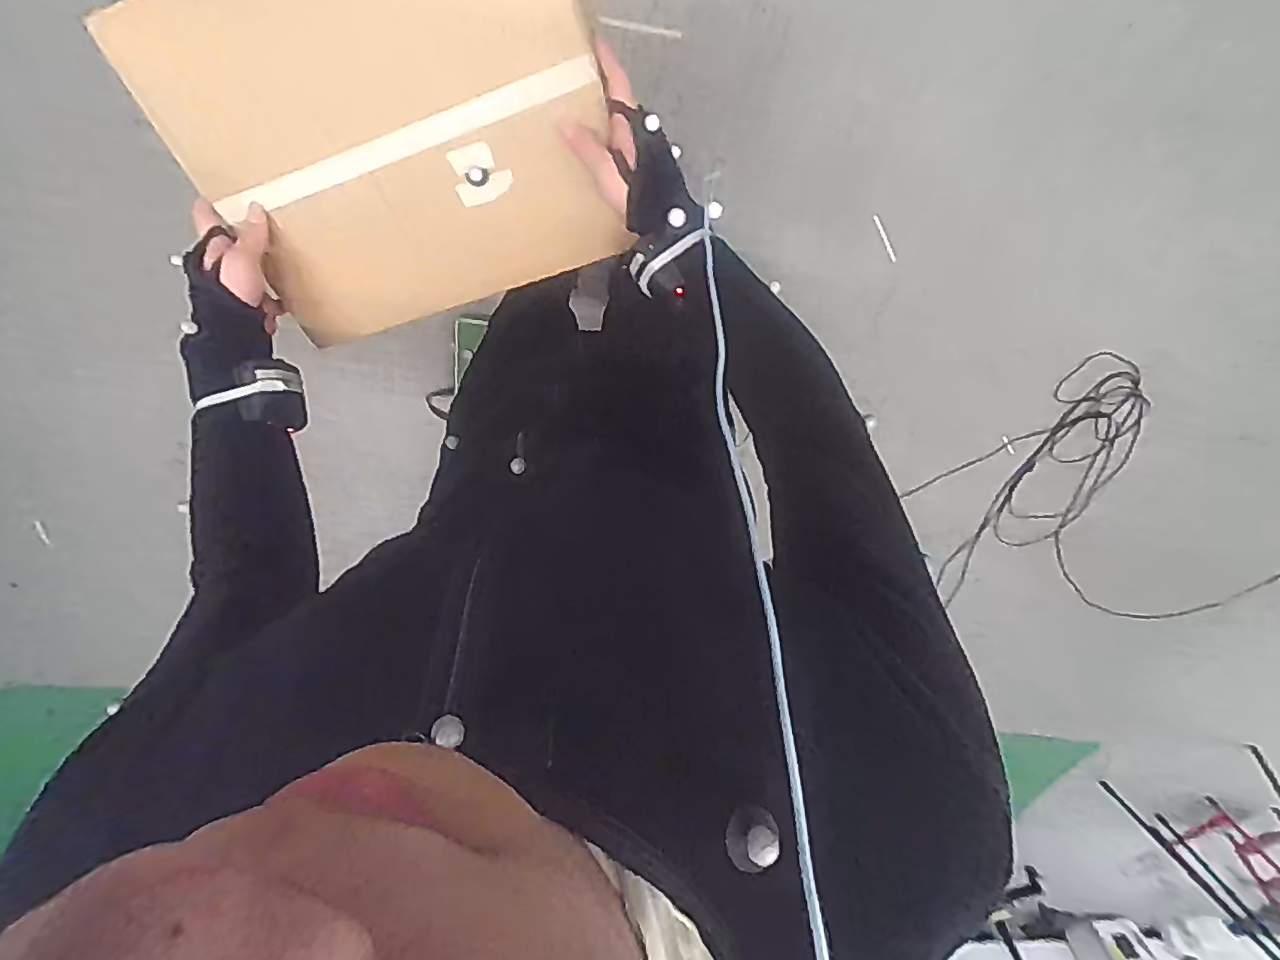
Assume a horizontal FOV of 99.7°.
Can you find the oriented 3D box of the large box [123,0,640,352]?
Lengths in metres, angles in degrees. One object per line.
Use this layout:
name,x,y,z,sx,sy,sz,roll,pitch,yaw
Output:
large box,-0.236,-0.407,0.652,0.408,0.320,0.320,-15,126,10
